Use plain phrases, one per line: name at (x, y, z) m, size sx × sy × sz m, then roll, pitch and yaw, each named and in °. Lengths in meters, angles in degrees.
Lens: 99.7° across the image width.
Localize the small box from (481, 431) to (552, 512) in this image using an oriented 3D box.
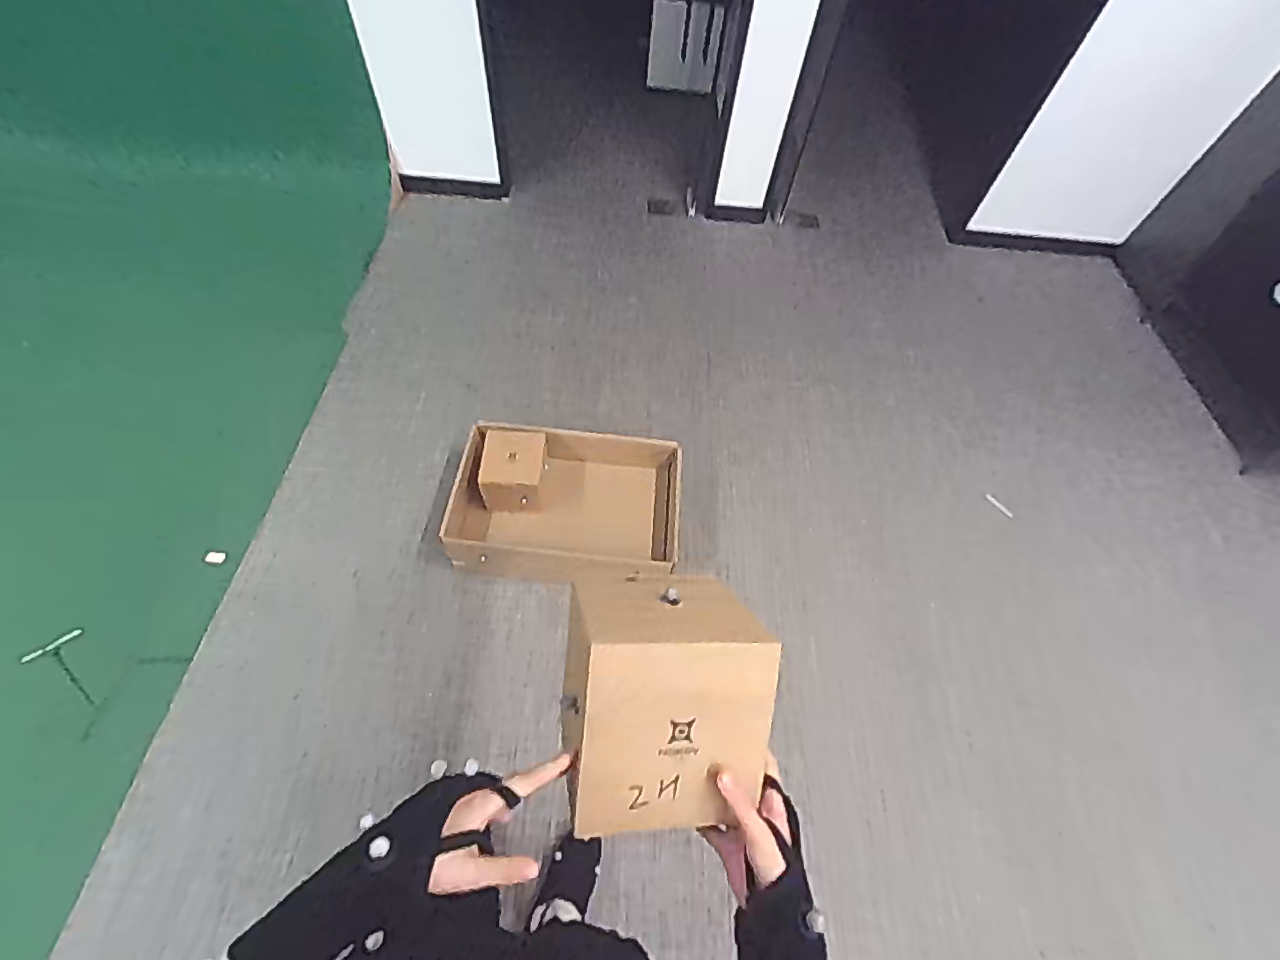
small box at (-0.349, -0.020, 1.560) m, size 0.168 × 0.176 × 0.179 m, roll 3°, pitch 58°, yaw -3°

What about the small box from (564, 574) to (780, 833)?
small box at (0.016, 0.201, 0.529) m, size 0.168 × 0.176 × 0.179 m, roll 5°, pitch 99°, yaw -11°
